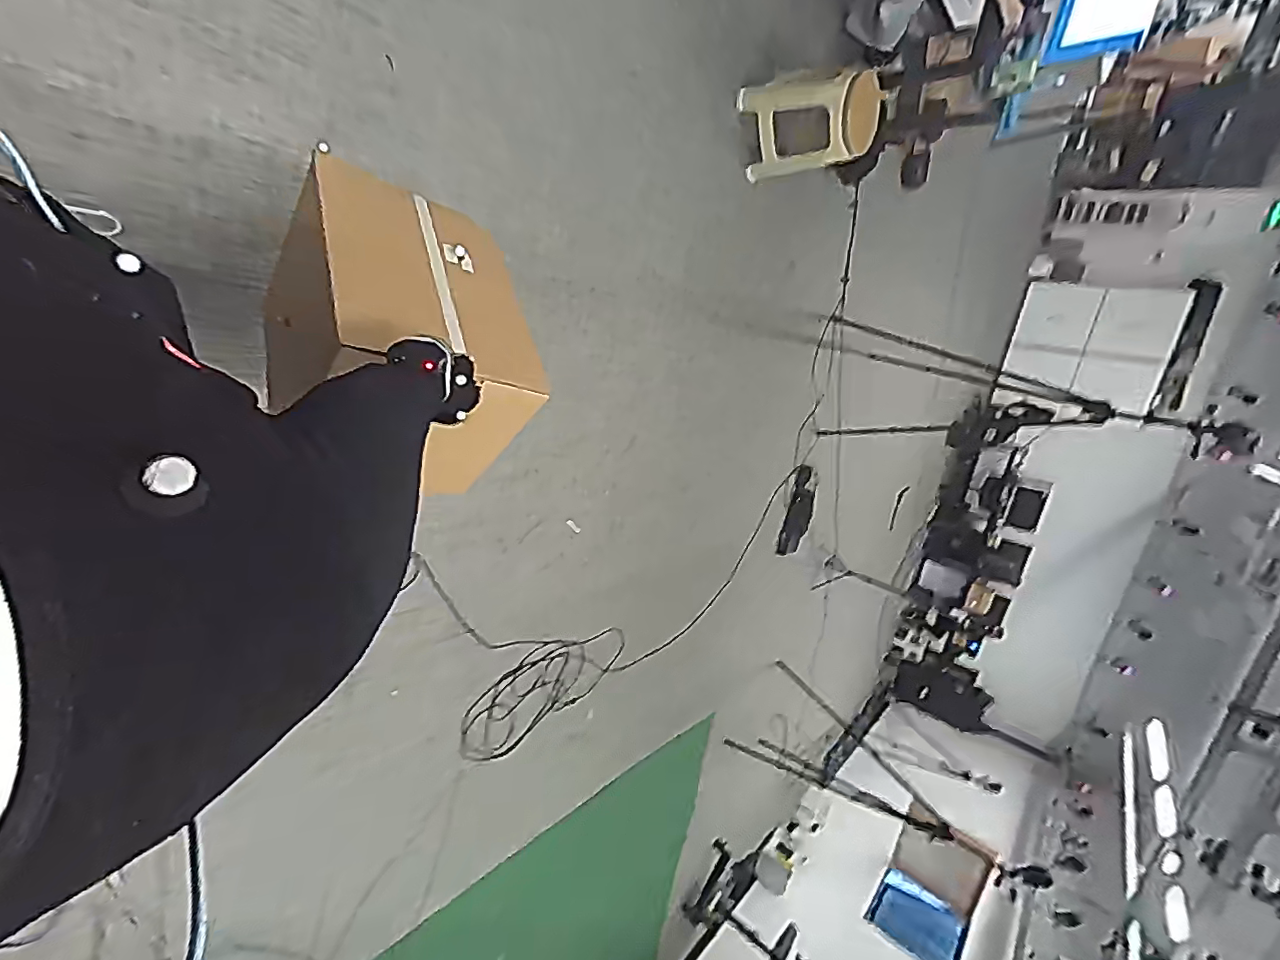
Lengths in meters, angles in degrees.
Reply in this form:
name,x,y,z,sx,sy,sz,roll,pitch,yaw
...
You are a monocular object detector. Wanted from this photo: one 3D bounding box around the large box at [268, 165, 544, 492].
name,x,y,z,sx,sy,sz,roll,pitch,yaw
large box,-0.421,-0.227,0.934,0.320,0.408,0.320,8,141,-46
